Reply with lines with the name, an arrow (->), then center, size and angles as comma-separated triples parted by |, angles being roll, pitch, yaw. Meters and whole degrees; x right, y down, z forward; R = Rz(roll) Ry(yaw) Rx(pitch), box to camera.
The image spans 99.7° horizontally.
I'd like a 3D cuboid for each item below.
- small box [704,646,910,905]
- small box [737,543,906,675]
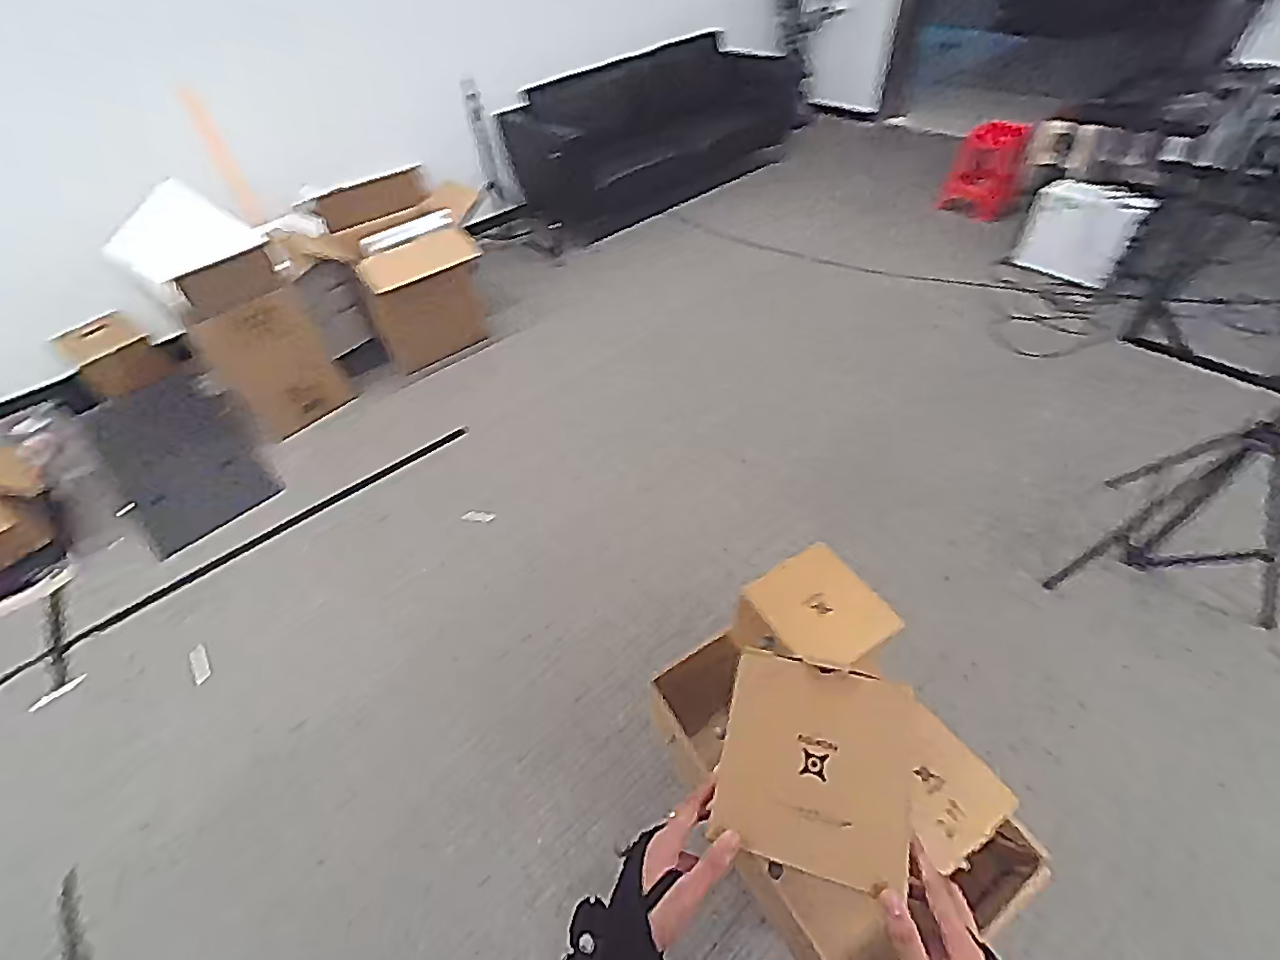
small box -> 0.168, 0.296, 0.557 | 0.168, 0.176, 0.179 | 8, 59, 17
small box -> 0.273, 0.239, 0.855 | 0.168, 0.176, 0.179 | -26, 51, -18
